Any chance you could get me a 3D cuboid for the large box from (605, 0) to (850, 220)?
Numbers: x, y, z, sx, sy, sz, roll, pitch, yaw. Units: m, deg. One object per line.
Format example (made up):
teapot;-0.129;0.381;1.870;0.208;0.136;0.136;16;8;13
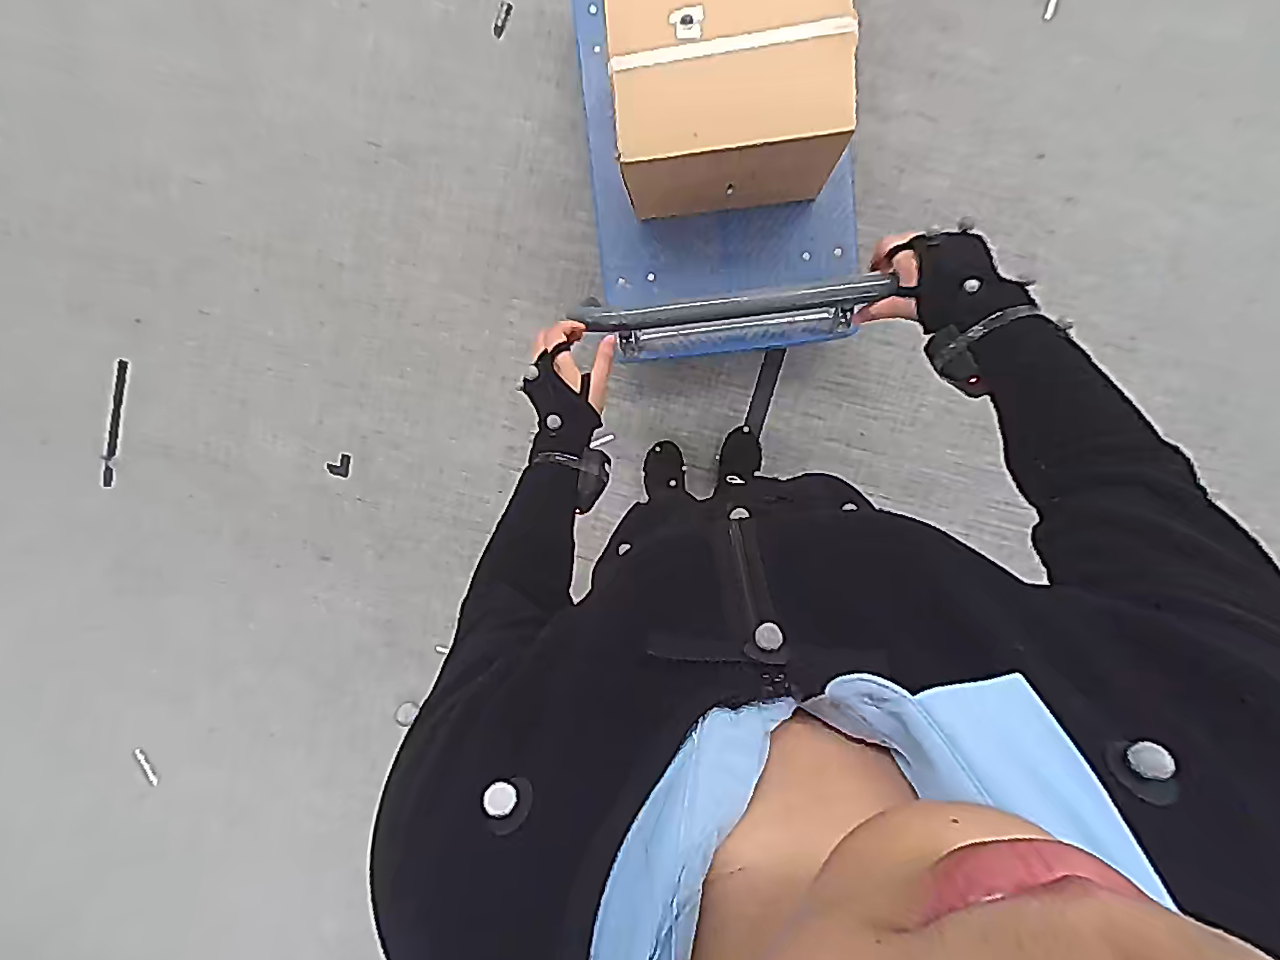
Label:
large box;0.168;-0.748;1.074;0.408;0.320;0.320;-4;97;8
